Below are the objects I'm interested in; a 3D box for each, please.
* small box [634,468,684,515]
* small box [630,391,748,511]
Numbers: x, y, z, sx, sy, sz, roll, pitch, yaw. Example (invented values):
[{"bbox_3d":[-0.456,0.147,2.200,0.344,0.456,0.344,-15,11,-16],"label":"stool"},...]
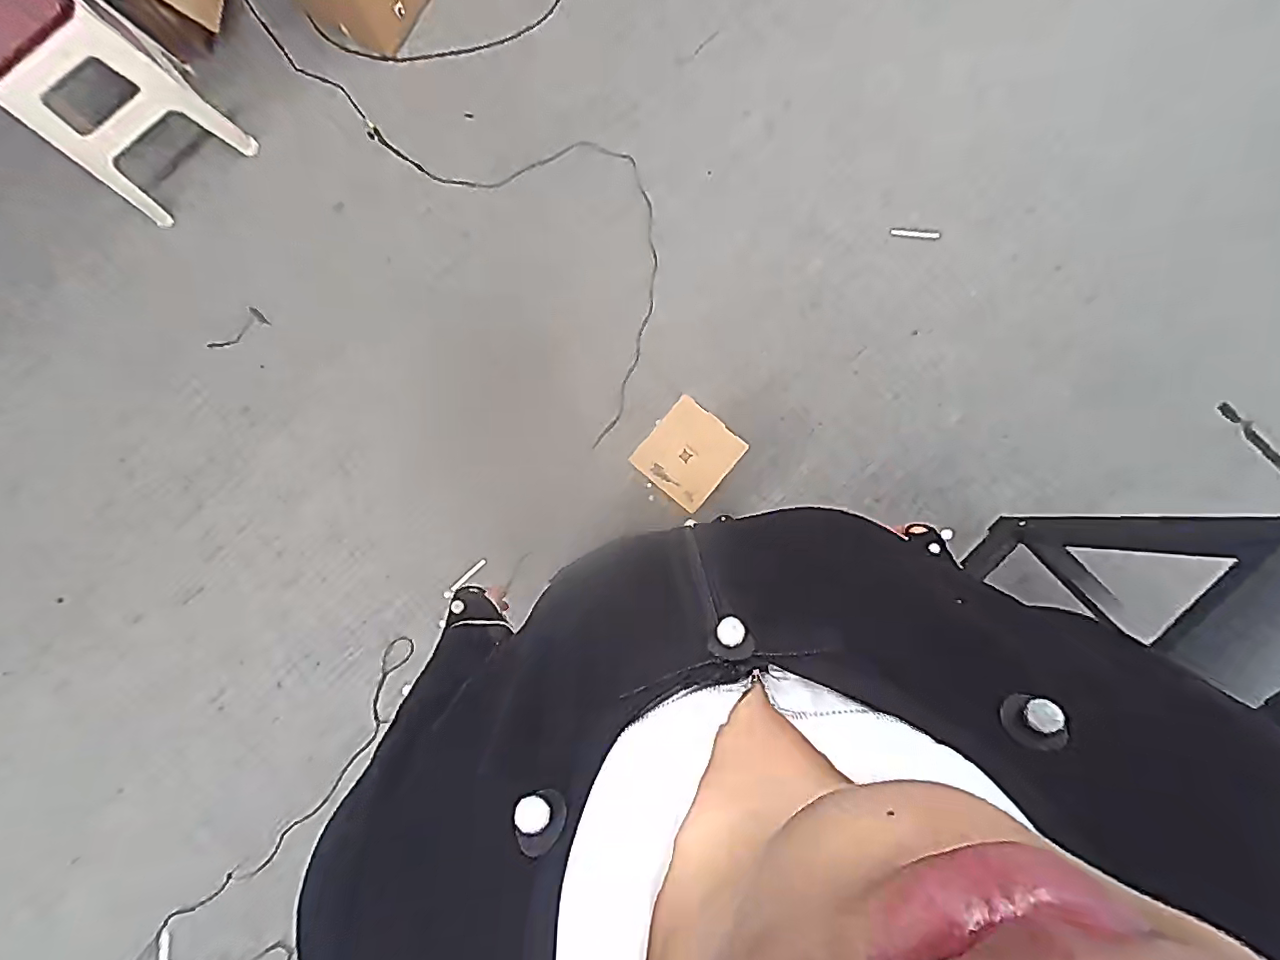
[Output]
[{"bbox_3d":[0.101,-0.025,1.448,0.168,0.176,0.179,43,89,4],"label":"small box"},{"bbox_3d":[0.095,-0.051,1.121,0.168,0.176,0.179,40,87,5],"label":"small box"}]
